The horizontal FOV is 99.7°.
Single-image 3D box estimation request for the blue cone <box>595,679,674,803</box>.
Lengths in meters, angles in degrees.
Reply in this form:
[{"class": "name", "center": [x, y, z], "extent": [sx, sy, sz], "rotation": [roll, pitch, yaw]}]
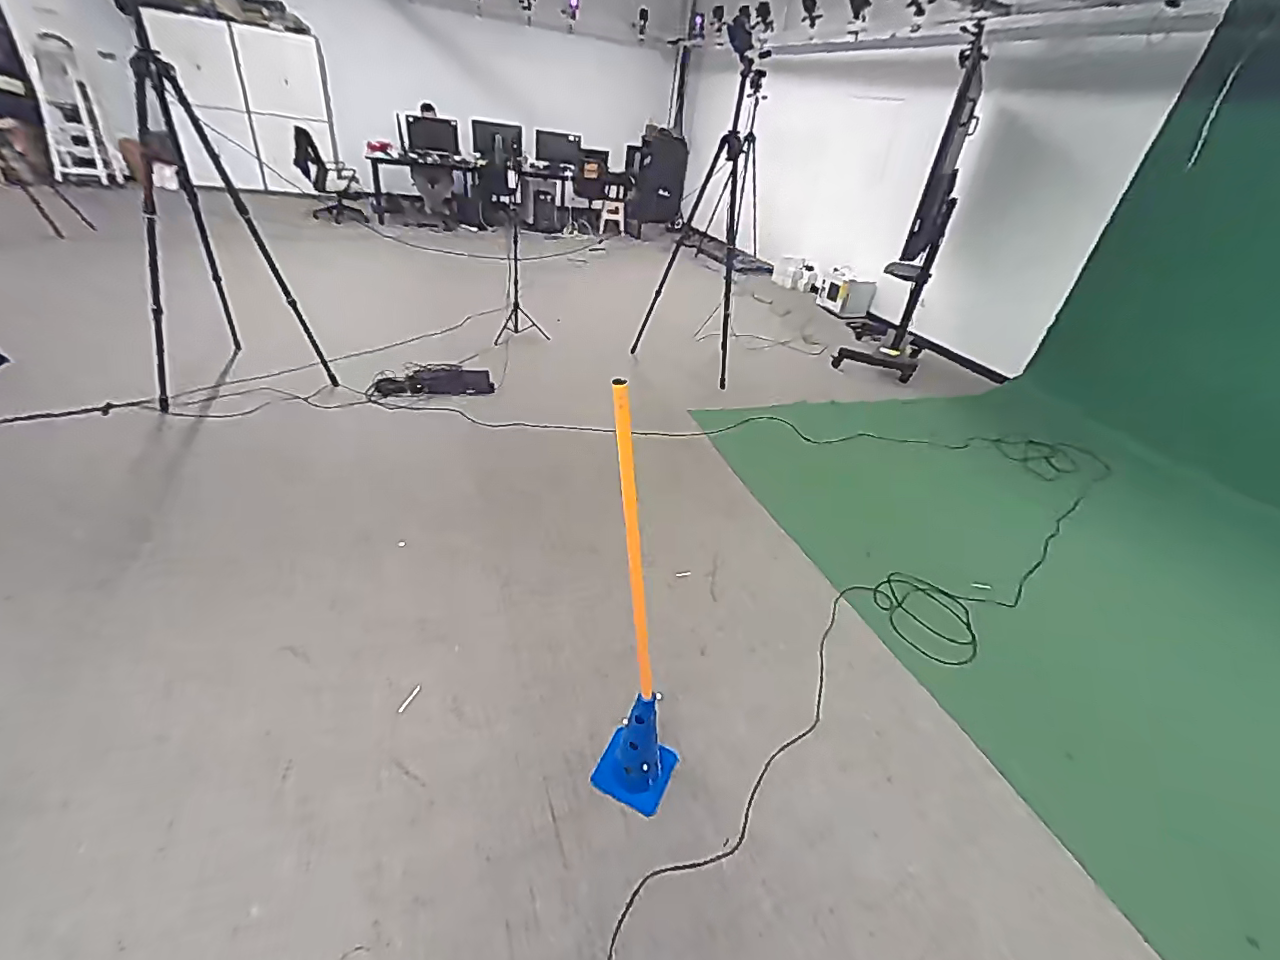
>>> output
[{"class": "blue cone", "center": [-0.002, 0.668, 1.440], "extent": [0.193, 0.380, 0.192], "rotation": [18, 36, 17]}]
